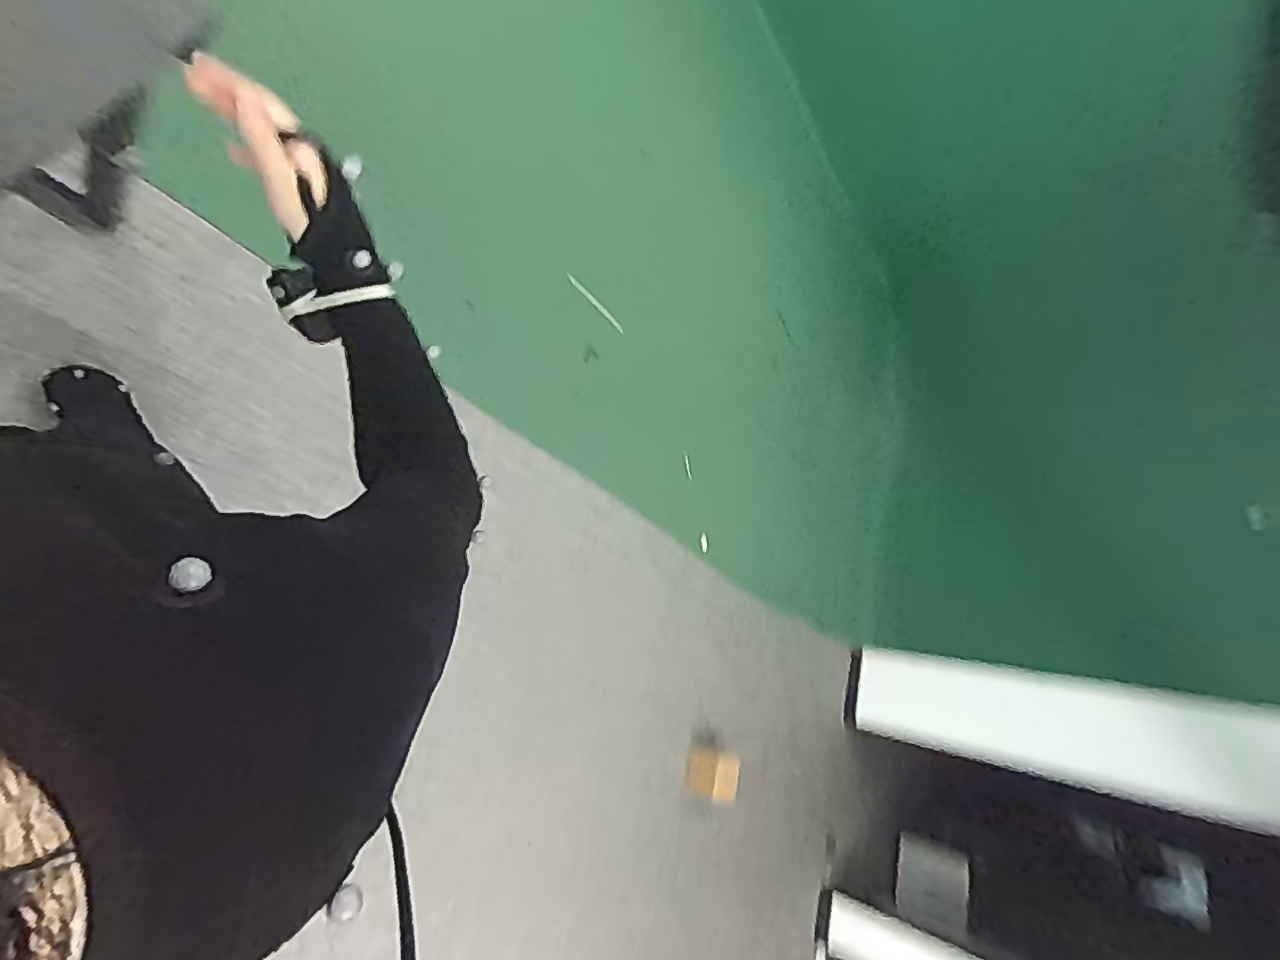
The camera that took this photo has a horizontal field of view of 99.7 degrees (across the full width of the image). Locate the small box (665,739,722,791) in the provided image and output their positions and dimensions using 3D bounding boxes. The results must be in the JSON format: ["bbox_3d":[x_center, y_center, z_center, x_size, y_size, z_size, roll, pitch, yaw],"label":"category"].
[{"bbox_3d":[0.235,1.256,2.386,0.179,0.176,0.168,30,67,-42],"label":"small box"}]
